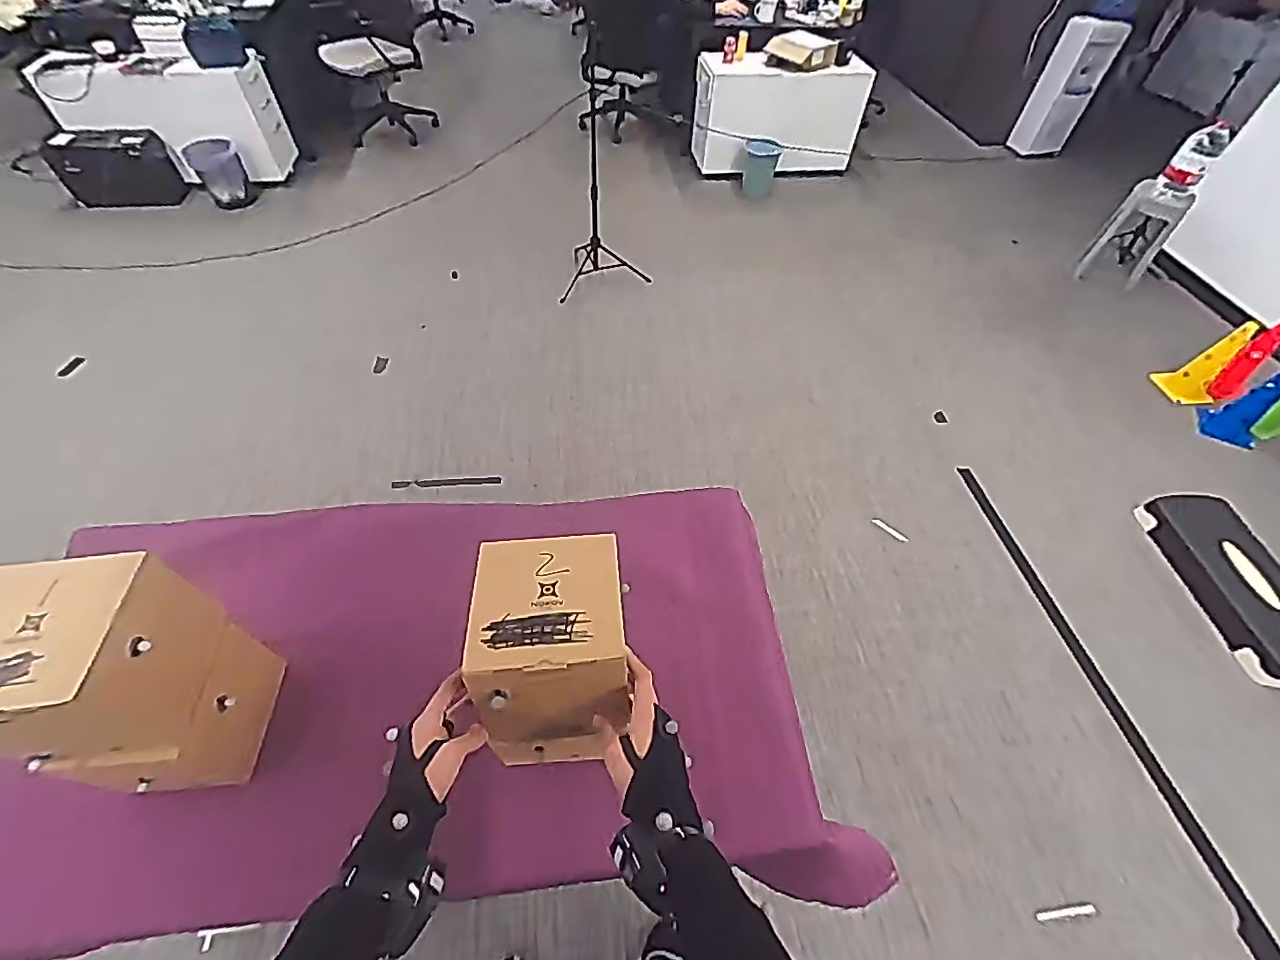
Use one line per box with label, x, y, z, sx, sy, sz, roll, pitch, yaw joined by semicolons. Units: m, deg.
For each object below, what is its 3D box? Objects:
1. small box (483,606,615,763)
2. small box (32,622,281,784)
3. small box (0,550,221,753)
small box;-0.121;0.303;0.790;0.168;0.176;0.179;-2;51;-4
small box;-0.640;0.314;0.751;0.168;0.176;0.179;-1;52;-5
small box;-0.639;0.204;0.628;0.168;0.176;0.179;-5;52;-7
